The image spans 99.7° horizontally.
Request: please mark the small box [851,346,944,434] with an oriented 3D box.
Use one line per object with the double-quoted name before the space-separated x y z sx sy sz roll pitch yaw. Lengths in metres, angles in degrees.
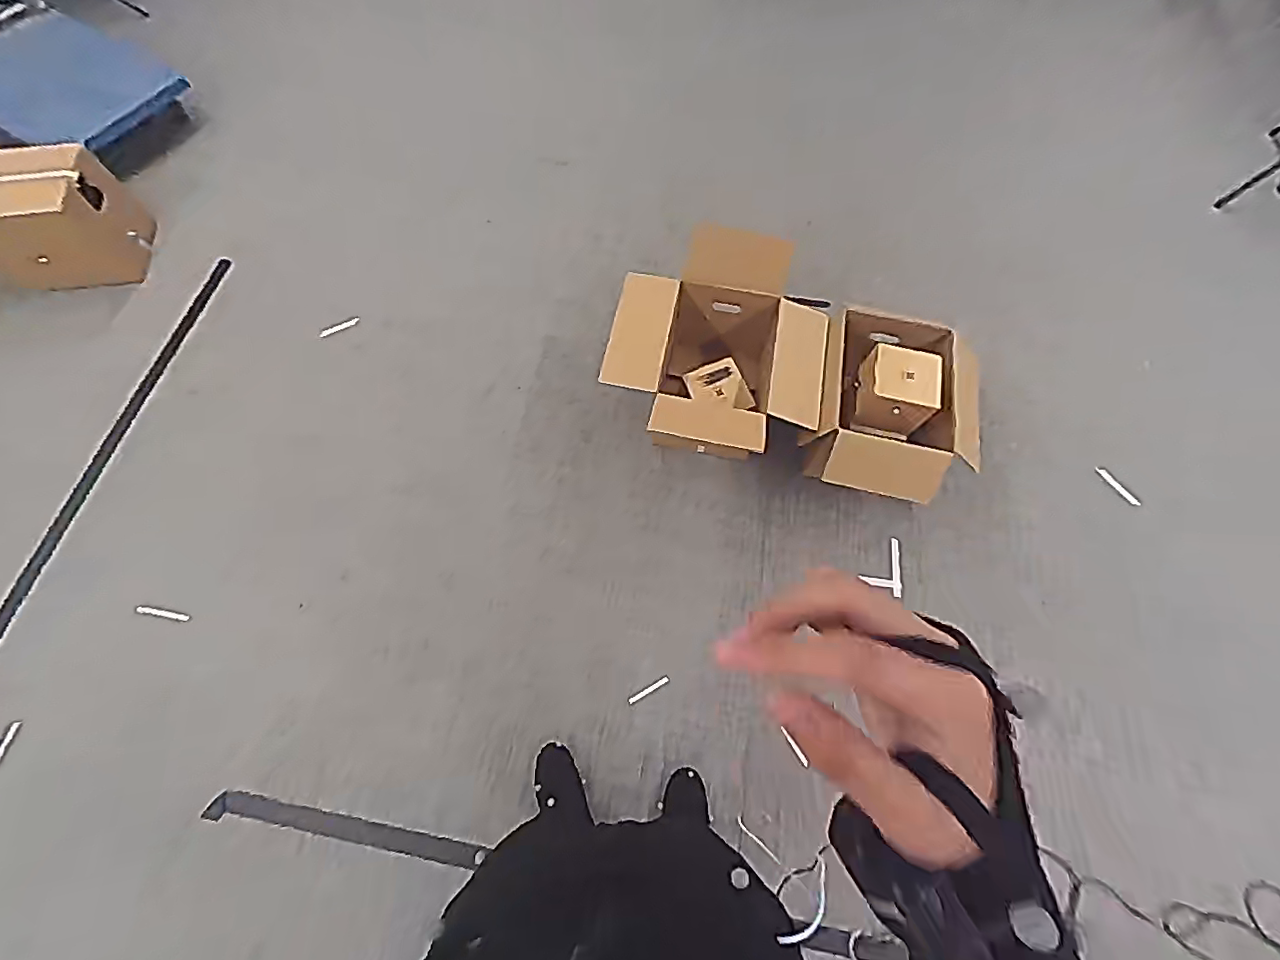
"small box" 0.708 -0.242 1.498 0.179 0.176 0.168 12 70 4
